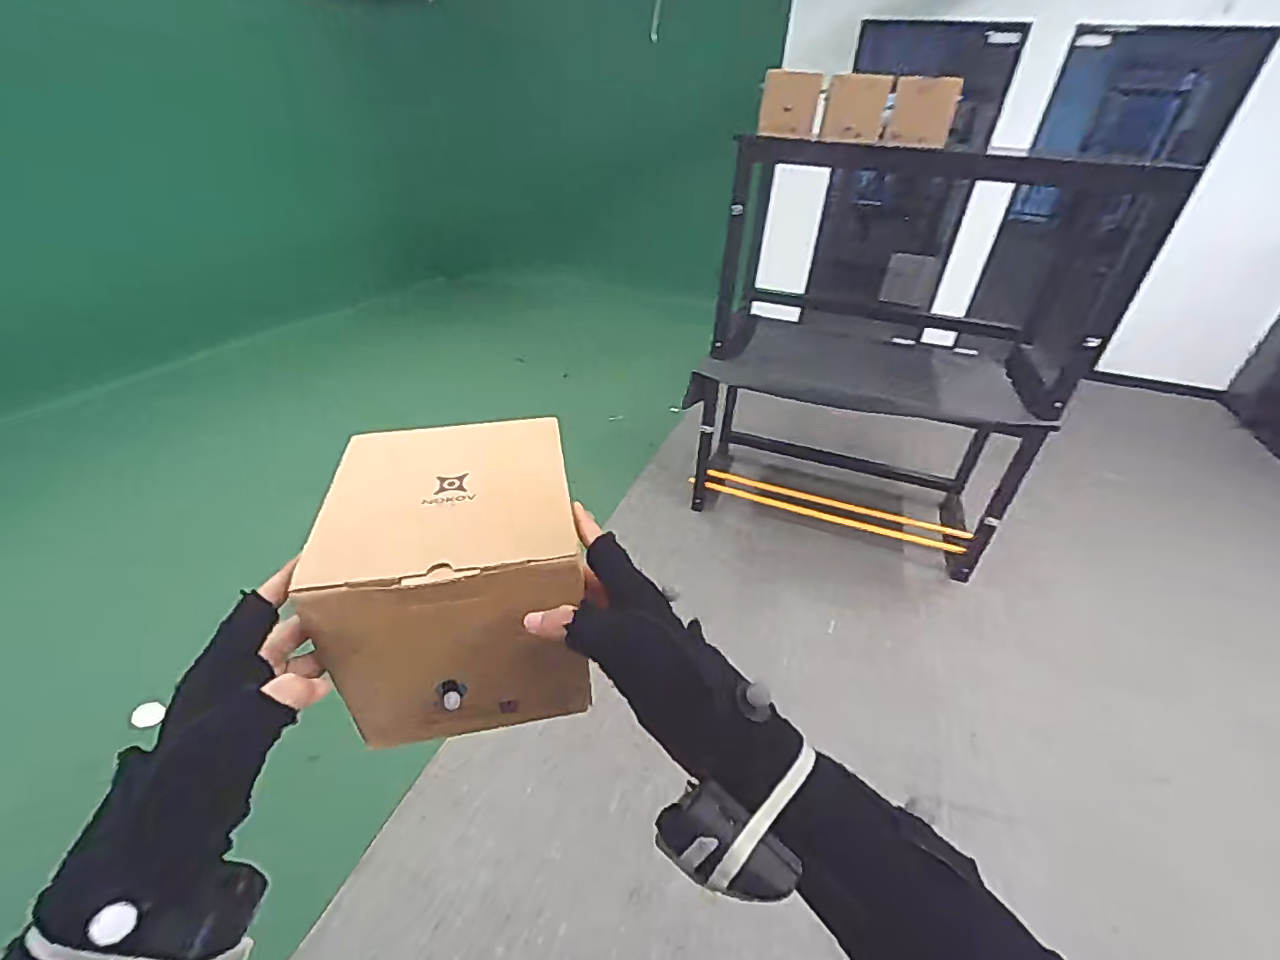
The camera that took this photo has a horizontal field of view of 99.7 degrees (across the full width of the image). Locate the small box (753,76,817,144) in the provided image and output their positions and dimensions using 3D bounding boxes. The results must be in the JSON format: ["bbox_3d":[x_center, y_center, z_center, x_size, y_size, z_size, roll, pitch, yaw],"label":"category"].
[{"bbox_3d":[0.460,-1.171,1.717,0.168,0.176,0.179,11,34,9],"label":"small box"}]

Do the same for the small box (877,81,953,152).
[{"bbox_3d":[0.820,-1.087,1.622,0.168,0.176,0.179,16,35,17],"label":"small box"}]
